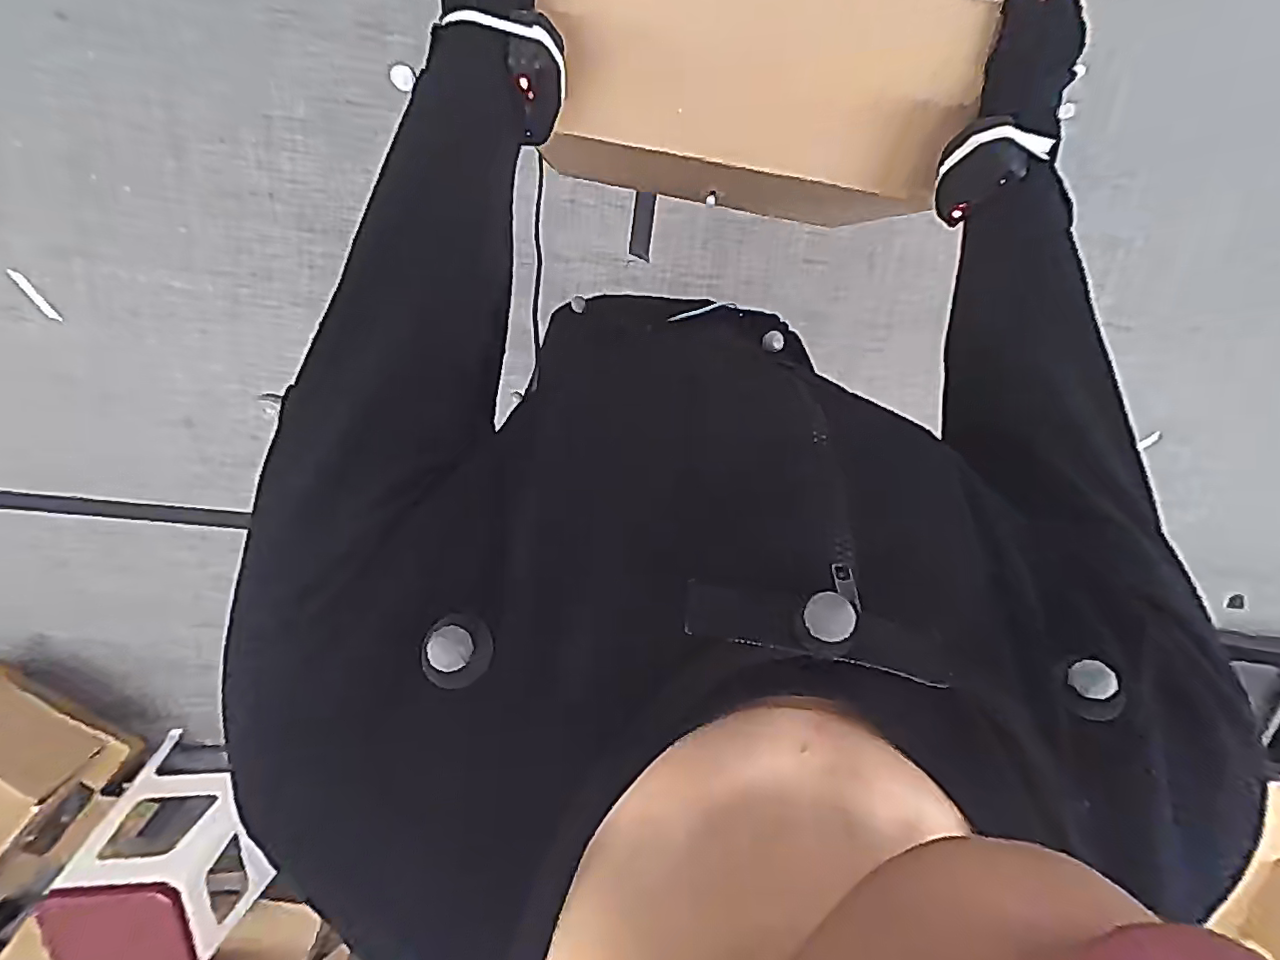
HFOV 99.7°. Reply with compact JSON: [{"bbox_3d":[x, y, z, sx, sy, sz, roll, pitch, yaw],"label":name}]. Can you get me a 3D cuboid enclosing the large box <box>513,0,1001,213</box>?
[{"bbox_3d":[0.108,-0.489,0.570,0.408,0.320,0.320,9,111,-4],"label":"large box"}]
